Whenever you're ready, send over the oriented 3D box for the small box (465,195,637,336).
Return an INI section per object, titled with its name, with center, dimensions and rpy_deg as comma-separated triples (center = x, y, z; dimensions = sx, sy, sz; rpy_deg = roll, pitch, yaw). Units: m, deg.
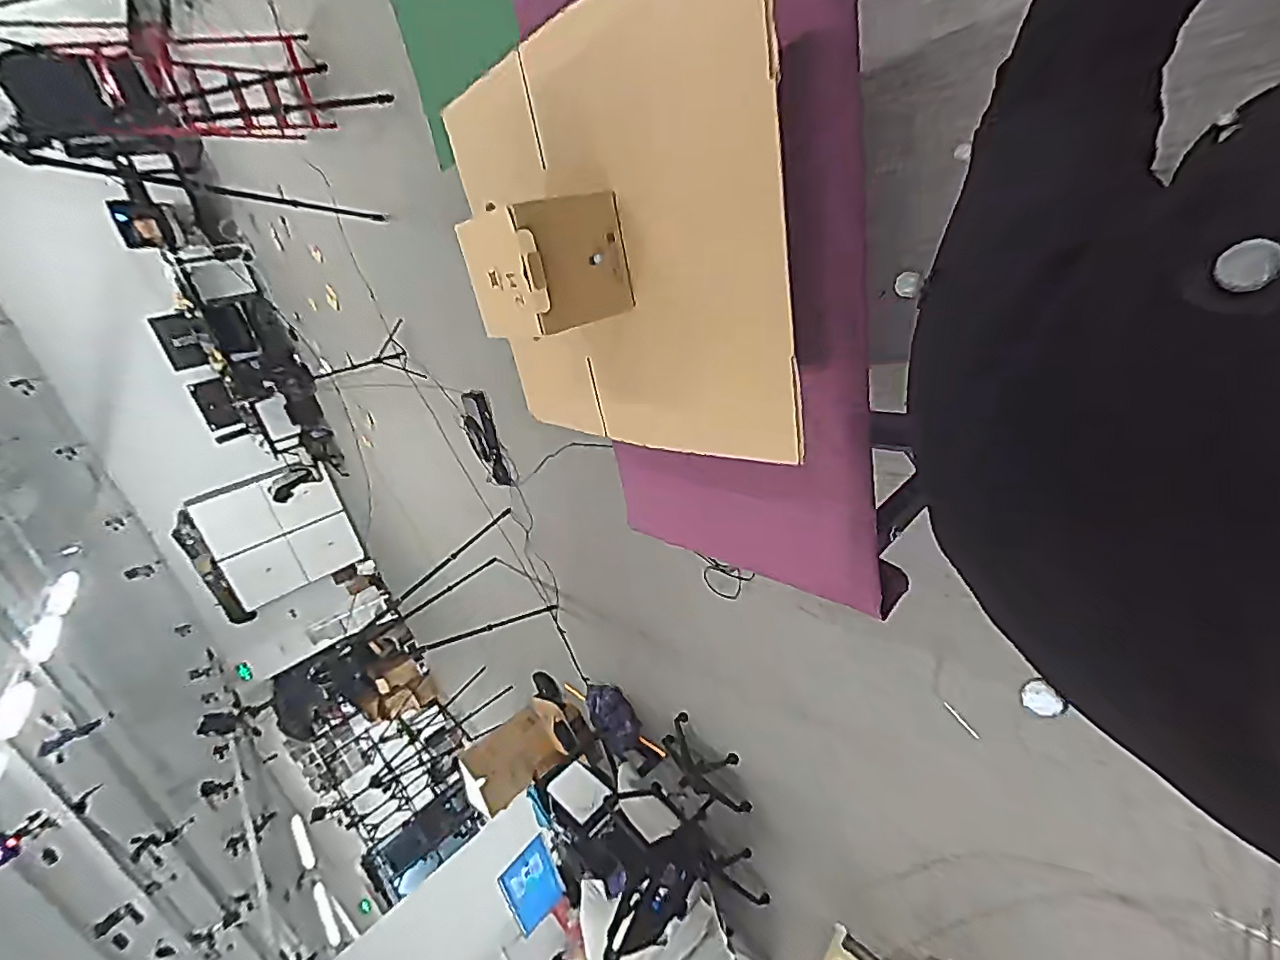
[small box]
center = -0.131, -0.318, 0.814
dimensions = 0.179, 0.176, 0.168
rpy_deg = 16, 126, 47
